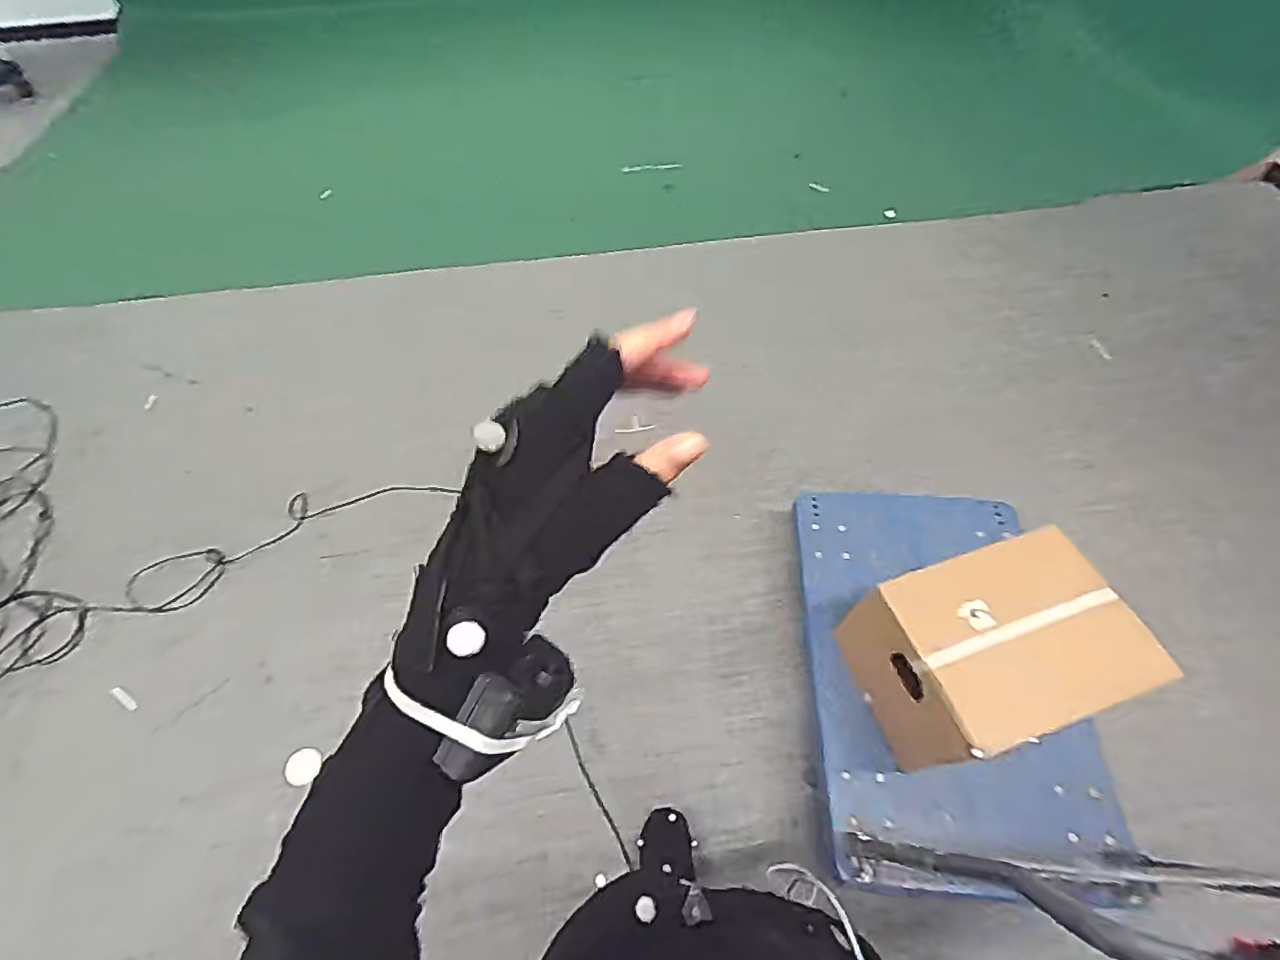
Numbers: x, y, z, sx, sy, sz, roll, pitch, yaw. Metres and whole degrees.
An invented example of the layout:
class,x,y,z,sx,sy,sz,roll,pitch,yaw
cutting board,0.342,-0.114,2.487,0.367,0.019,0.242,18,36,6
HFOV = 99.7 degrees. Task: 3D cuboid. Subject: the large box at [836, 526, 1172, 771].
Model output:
class,x,y,z,sx,sy,sz,roll,pitch,yaw
large box,0.685,0.348,1.096,0.408,0.320,0.320,-17,58,-8
